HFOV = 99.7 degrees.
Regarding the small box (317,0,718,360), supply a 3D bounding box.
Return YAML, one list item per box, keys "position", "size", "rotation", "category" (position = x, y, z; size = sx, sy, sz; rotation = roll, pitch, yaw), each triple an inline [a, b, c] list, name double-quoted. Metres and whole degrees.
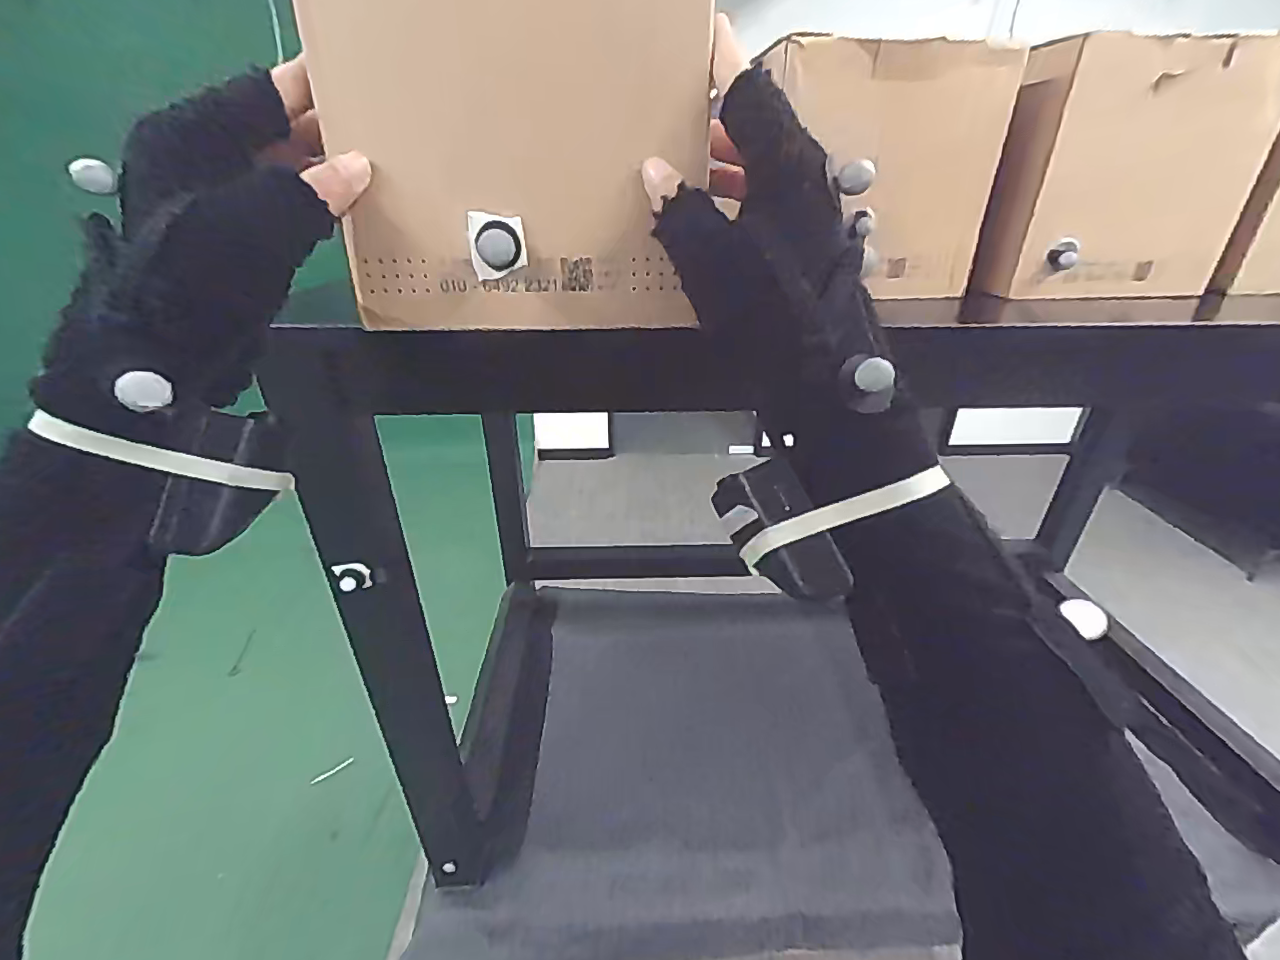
- position: [-0.053, -0.169, 0.314]
  size: [0.168, 0.176, 0.179]
  rotation: [-3, 24, -2]
  category: "small box"
